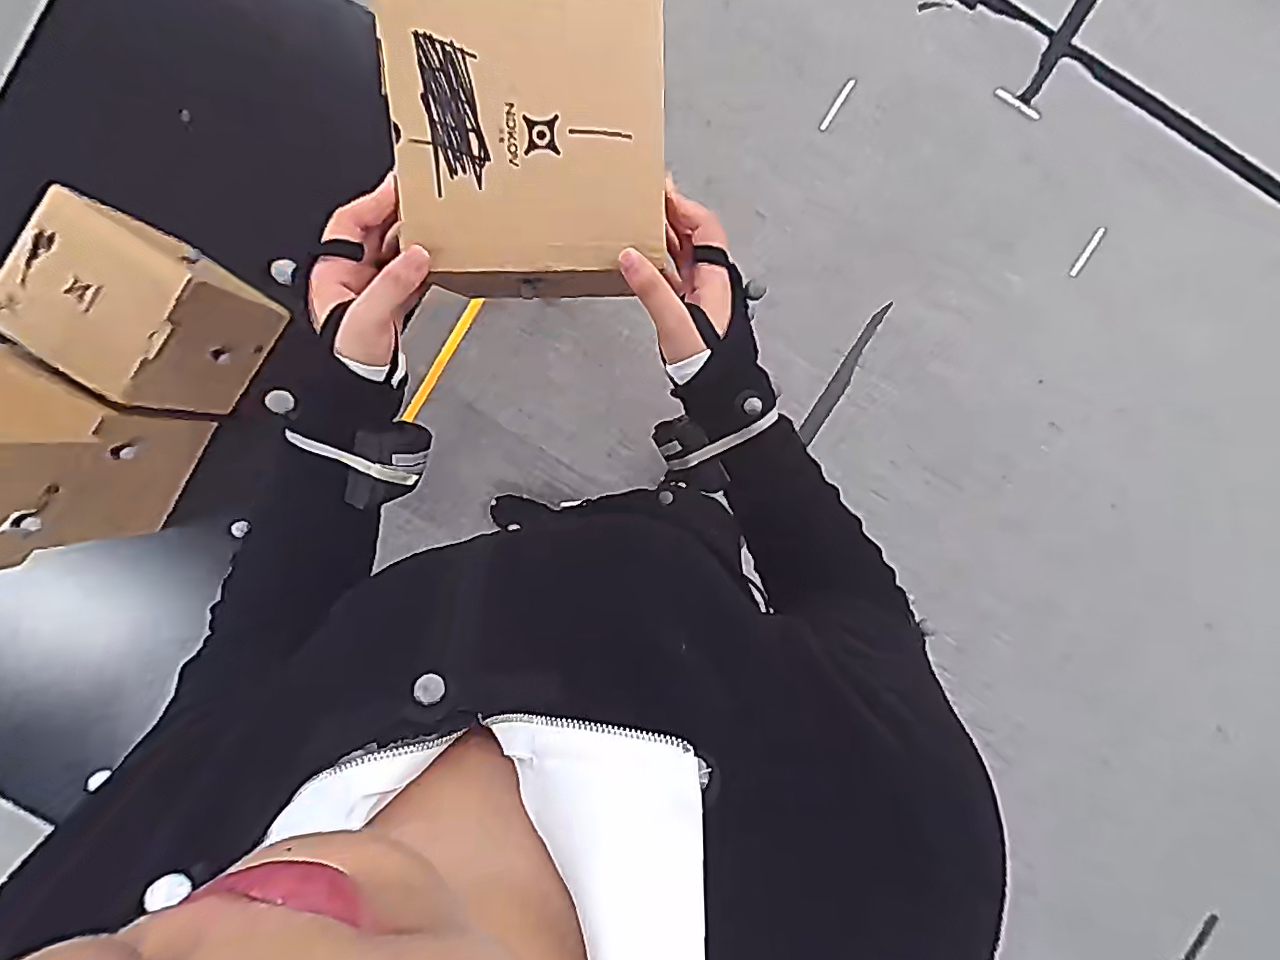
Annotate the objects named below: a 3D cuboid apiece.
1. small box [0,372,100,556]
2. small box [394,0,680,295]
[{"bbox_3d":[-0.689,-0.020,0.500,0.179,0.176,0.168,34,93,-4],"label":"small box"},{"bbox_3d":[-0.065,-0.239,0.422,0.179,0.176,0.168,-1,103,-3],"label":"small box"}]
